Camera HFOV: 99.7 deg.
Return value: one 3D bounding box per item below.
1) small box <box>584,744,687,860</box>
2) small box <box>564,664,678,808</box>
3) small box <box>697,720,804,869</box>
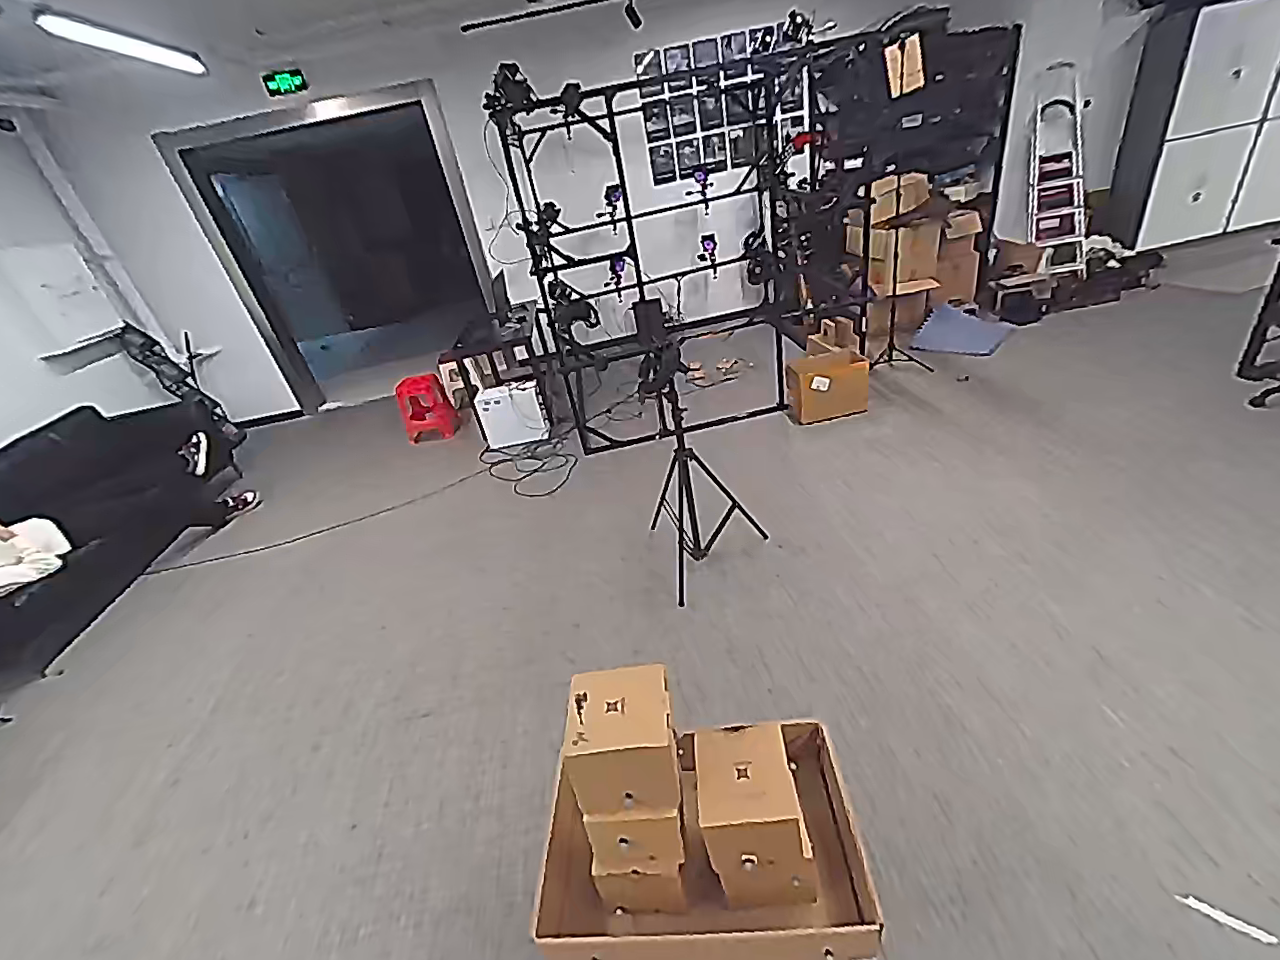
[{"bbox_3d":[-0.003,0.601,1.039,0.168,0.176,0.179,-6,30,5],"label":"small box"},{"bbox_3d":[-0.026,0.456,0.966,0.179,0.176,0.168,-7,29,4],"label":"small box"},{"bbox_3d":[0.200,0.578,0.997,0.168,0.176,0.179,-10,30,8],"label":"small box"}]
